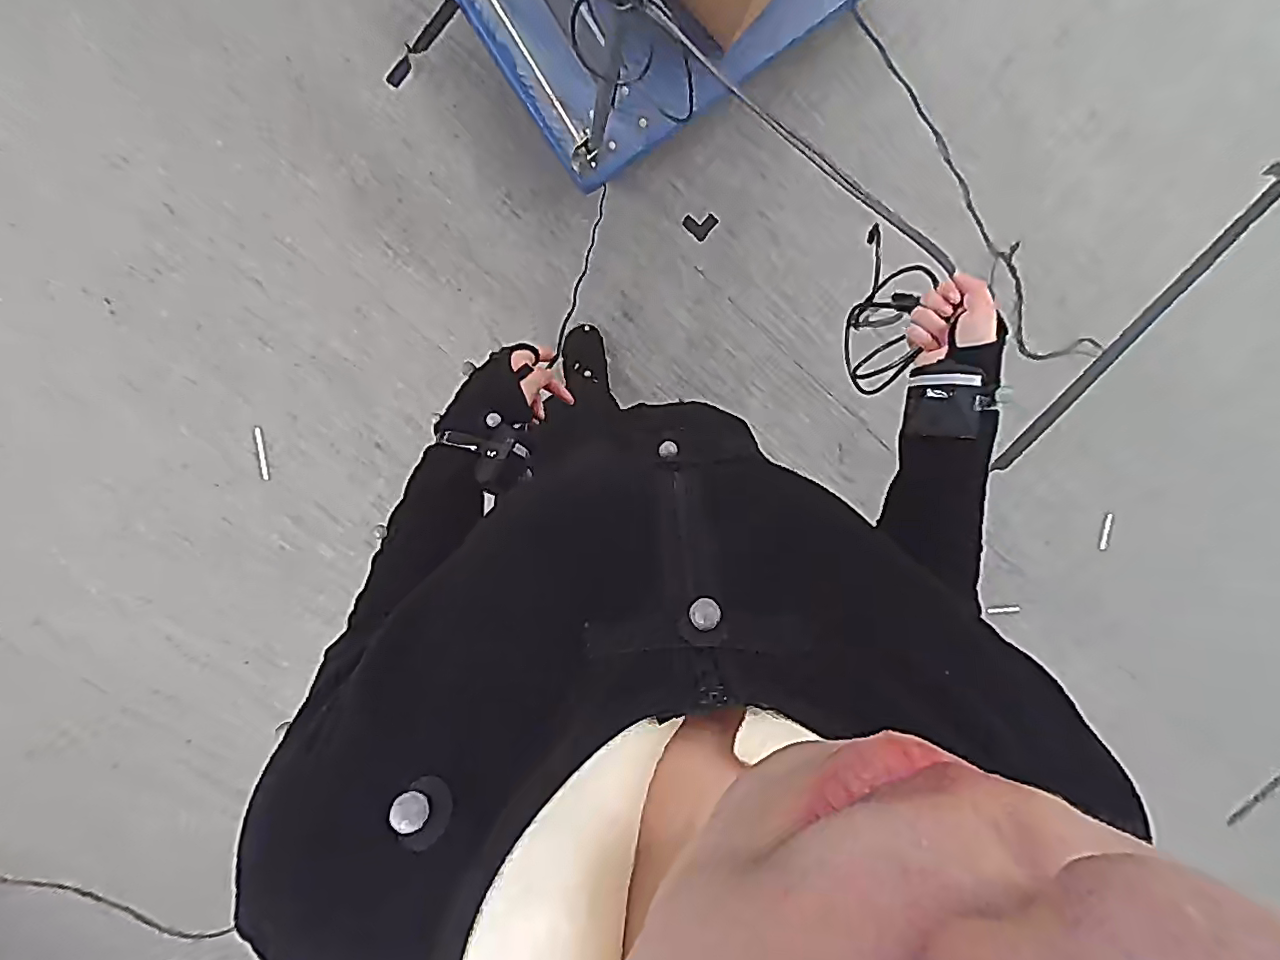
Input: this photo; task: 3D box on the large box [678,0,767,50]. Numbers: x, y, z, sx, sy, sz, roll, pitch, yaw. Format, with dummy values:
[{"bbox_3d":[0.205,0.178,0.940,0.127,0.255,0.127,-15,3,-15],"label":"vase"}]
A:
[{"bbox_3d":[0.143,-1.085,0.918,0.408,0.320,0.320,40,98,-14],"label":"large box"}]
